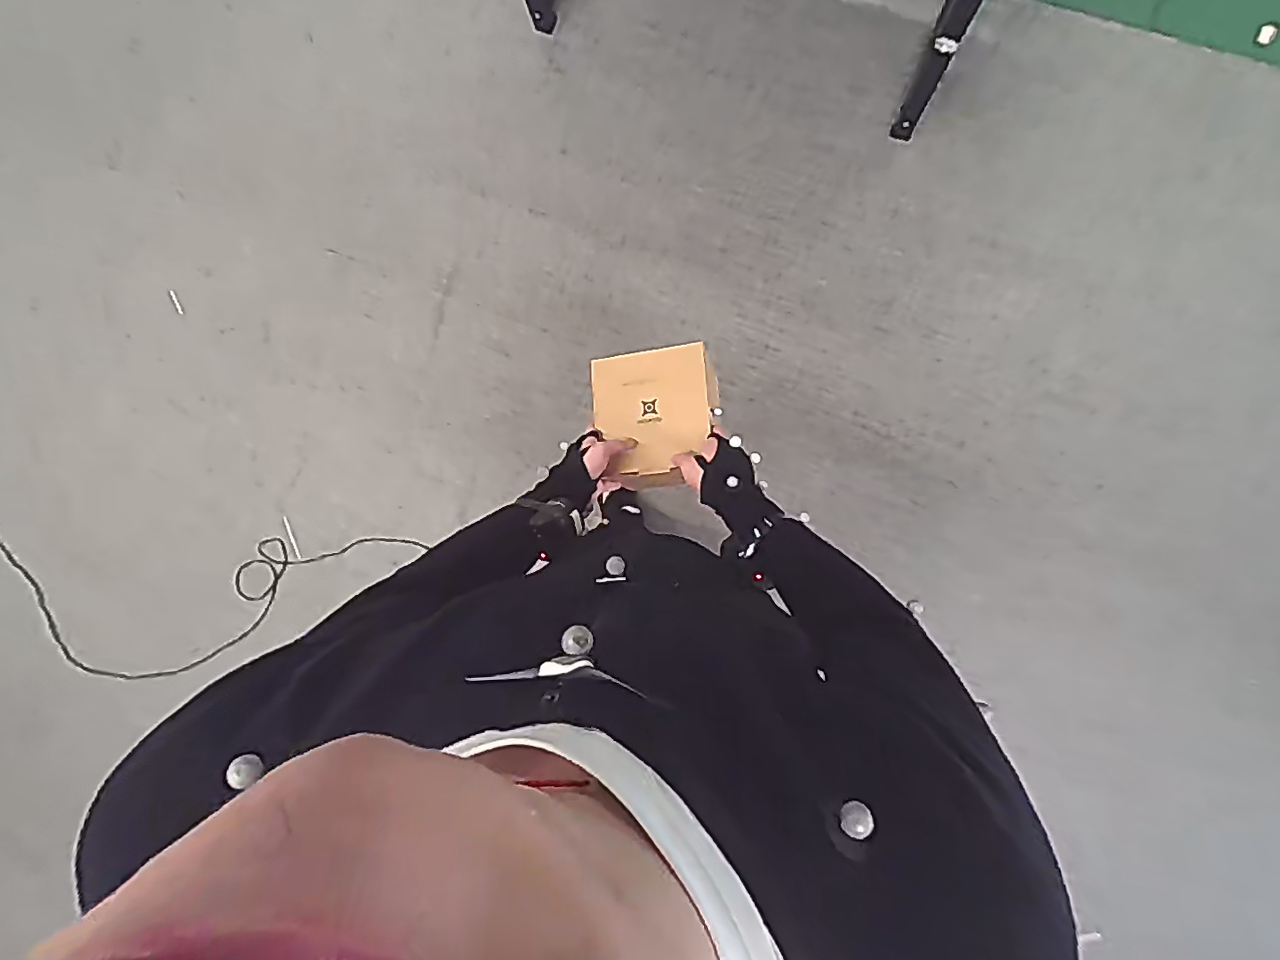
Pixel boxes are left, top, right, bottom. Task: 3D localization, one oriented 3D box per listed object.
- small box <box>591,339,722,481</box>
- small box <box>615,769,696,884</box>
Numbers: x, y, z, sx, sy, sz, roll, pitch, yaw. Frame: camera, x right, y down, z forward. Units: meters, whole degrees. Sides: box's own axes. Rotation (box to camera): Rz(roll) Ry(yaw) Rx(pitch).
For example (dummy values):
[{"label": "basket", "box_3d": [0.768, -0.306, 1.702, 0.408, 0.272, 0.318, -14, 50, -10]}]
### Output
[{"label": "small box", "box_3d": [0.032, -0.094, 0.833, 0.168, 0.176, 0.179, -7, 82, 12]}, {"label": "small box", "box_3d": [0.042, 0.928, 1.467, 0.168, 0.176, 0.179, 21, 91, 4]}]
